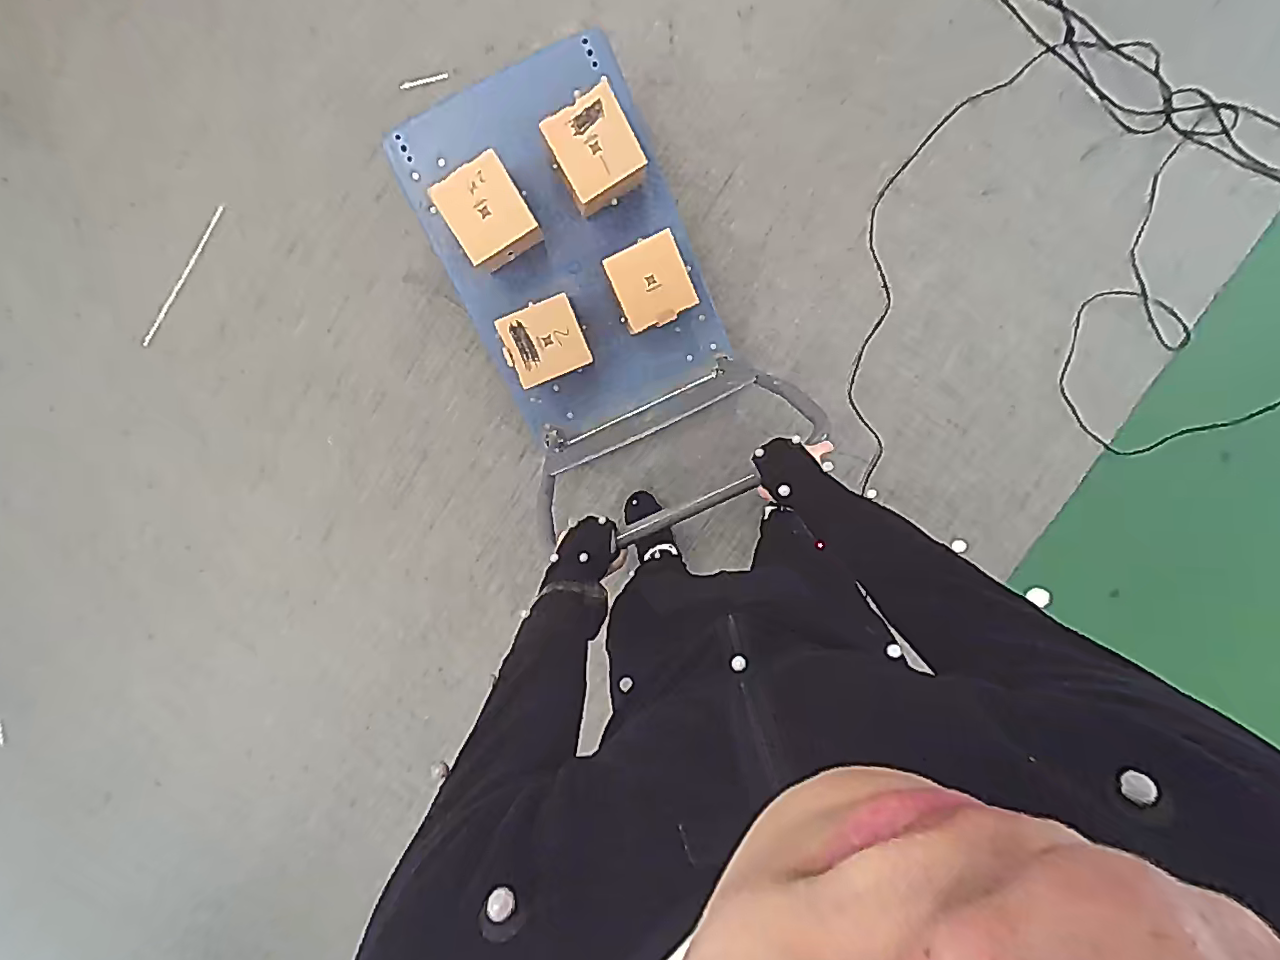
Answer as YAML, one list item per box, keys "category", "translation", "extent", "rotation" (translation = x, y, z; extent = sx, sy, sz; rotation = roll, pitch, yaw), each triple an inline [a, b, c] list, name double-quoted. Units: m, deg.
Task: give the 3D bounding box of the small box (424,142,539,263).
- category: "small box"
  translation: [-0.340, -0.604, 1.205]
  extent: [0.168, 0.176, 0.179]
  rotation: [-31, 106, 3]

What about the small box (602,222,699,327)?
- category: "small box"
  translation: [0.018, -0.475, 1.276]
  extent: [0.168, 0.176, 0.179]
  rotation: [-25, 107, 3]

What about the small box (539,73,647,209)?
- category: "small box"
  translation: [-0.104, -0.731, 1.189]
  extent: [0.168, 0.176, 0.179]
  rotation: [-30, 107, 5]
